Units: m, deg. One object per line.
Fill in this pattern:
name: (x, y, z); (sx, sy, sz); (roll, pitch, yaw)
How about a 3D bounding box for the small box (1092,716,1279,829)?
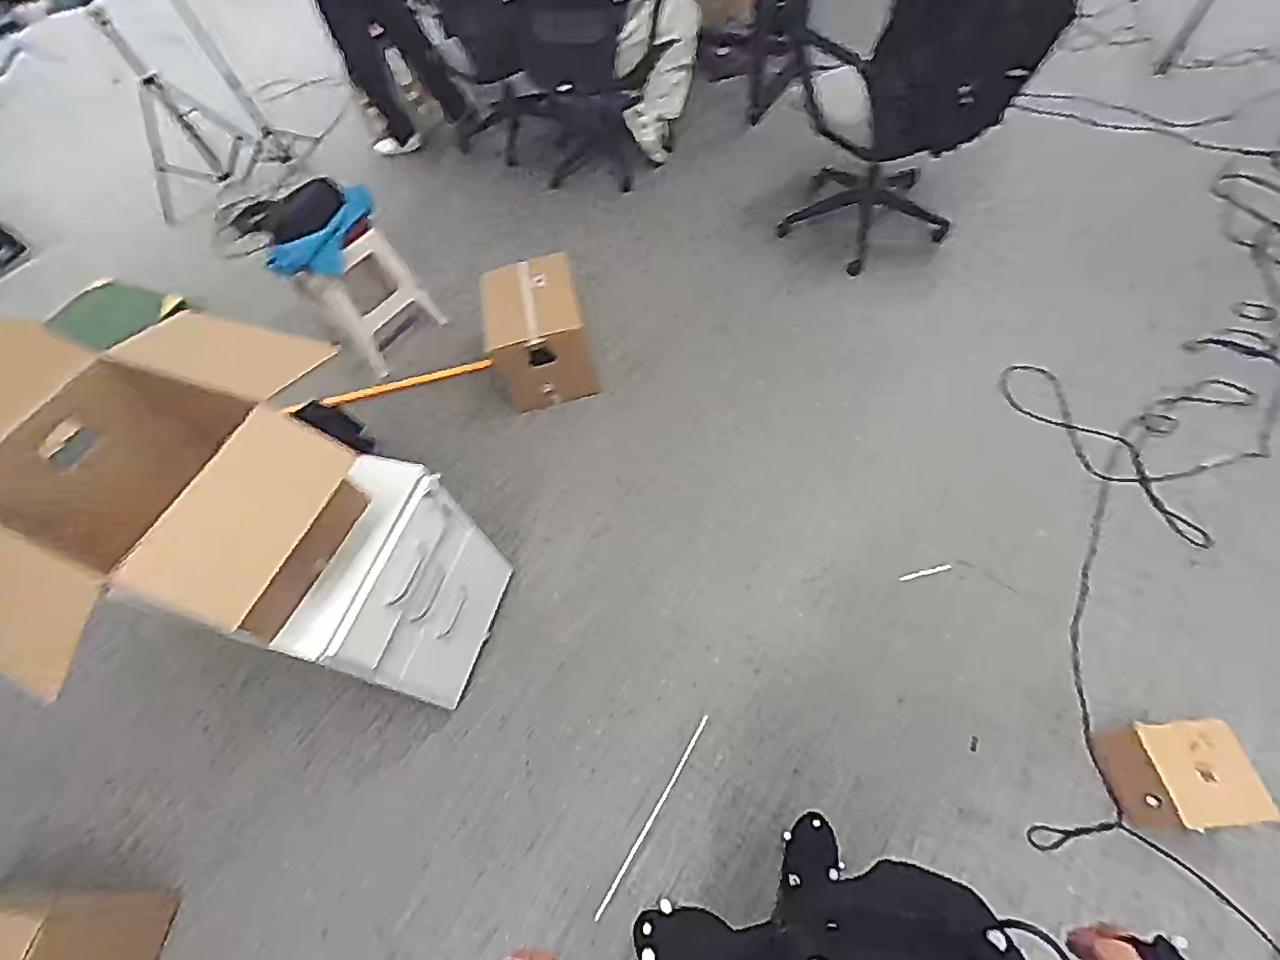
small box: (1.065, 0.582, 1.075); (0.168, 0.176, 0.179); (-8, 57, 4)
